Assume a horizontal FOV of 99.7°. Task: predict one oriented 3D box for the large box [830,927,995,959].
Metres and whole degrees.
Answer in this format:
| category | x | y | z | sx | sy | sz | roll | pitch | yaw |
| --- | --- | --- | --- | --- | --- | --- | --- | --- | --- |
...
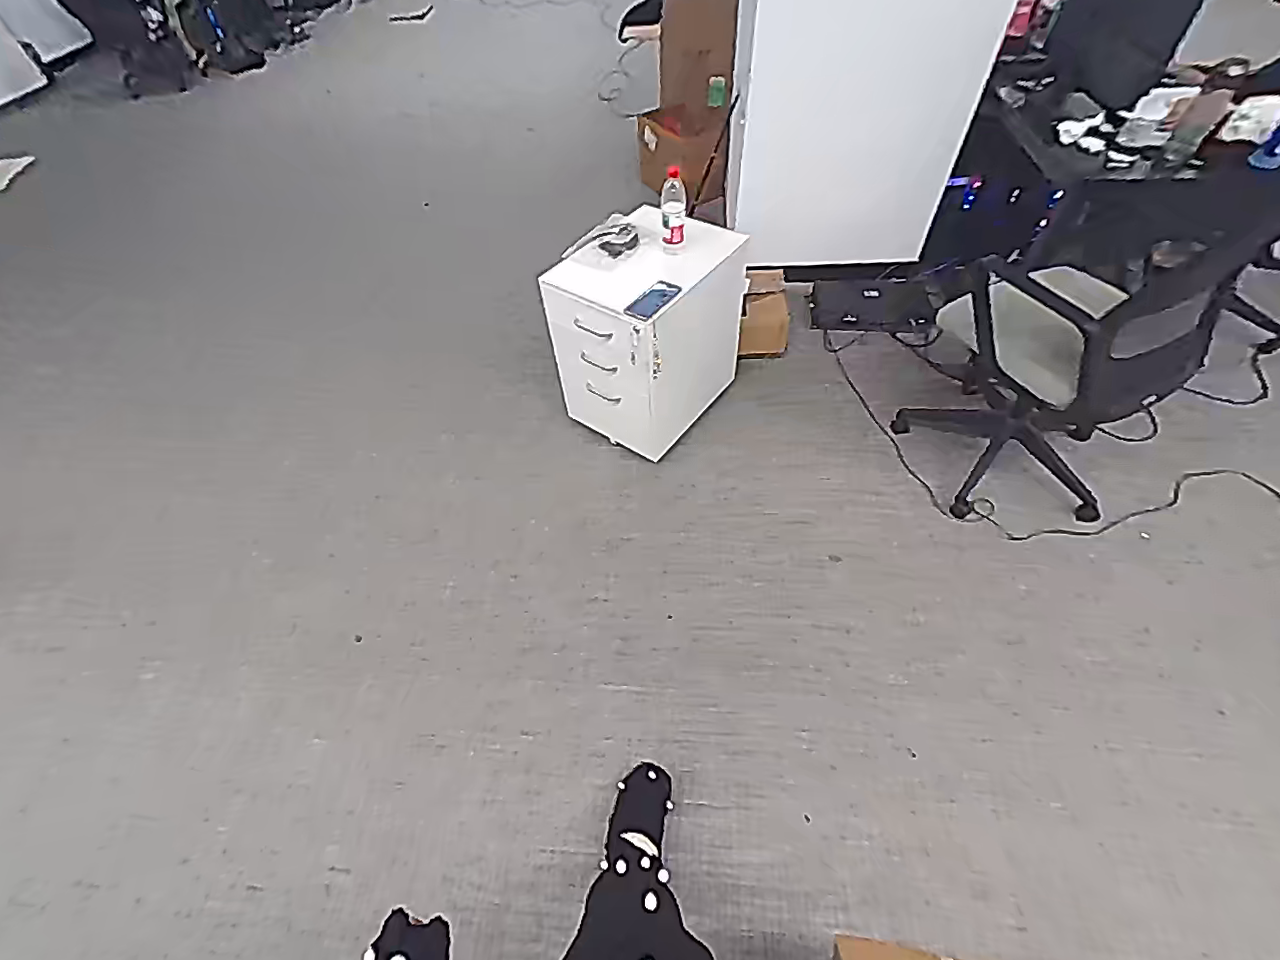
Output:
| category | x | y | z | sx | sy | sz | roll | pitch | yaw |
| --- | --- | --- | --- | --- | --- | --- | --- | --- | --- |
| large box | 0.396 | 0.816 | 0.588 | 0.320 | 0.408 | 0.320 | 4 | 84 | 9 |
